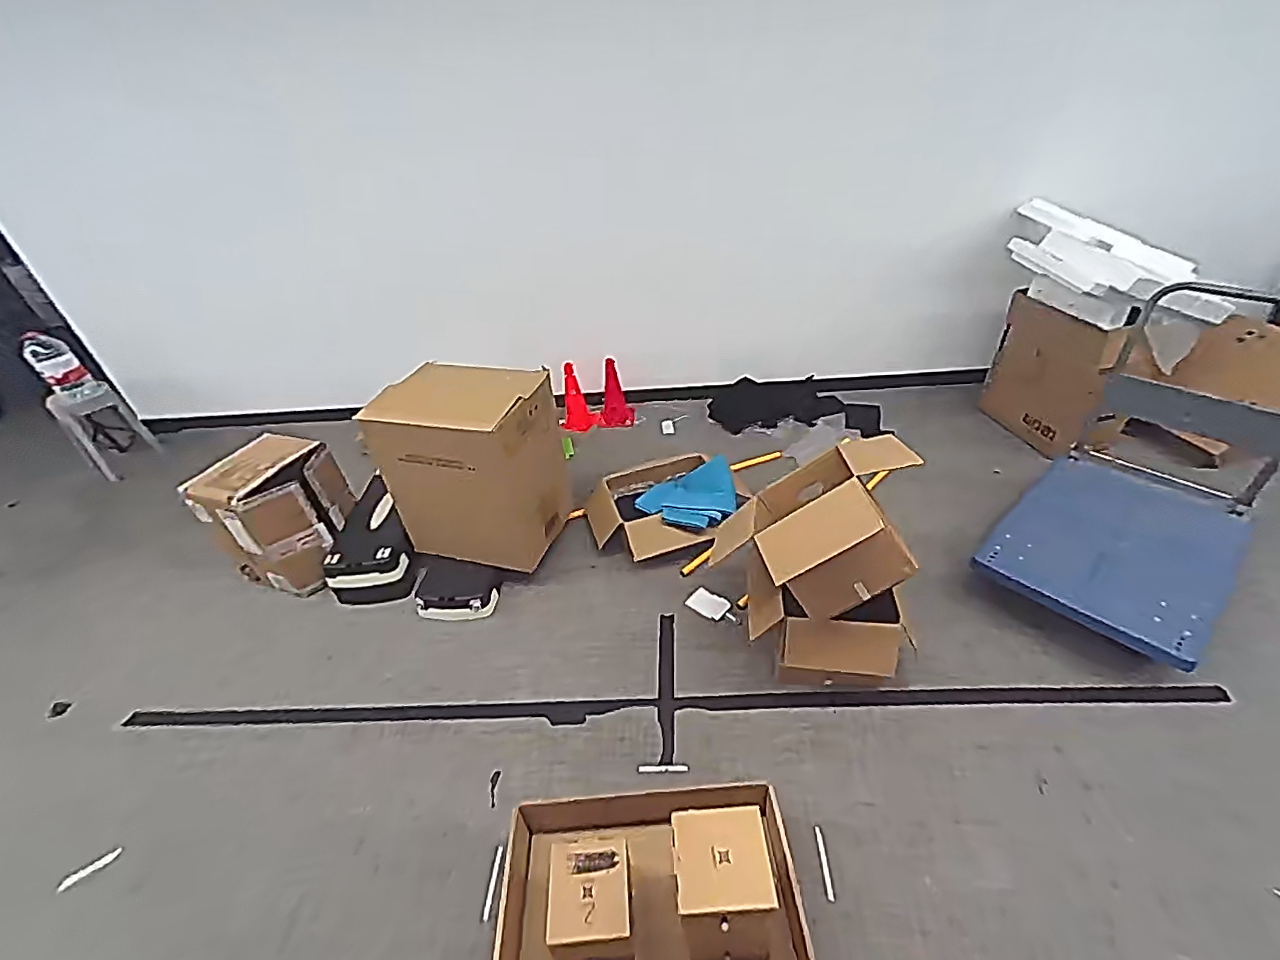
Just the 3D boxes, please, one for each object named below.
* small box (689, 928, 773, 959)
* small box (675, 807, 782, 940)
[{"bbox_3d":[0.181,0.888,1.141,0.168,0.176,0.179,-5,36,1],"label":"small box"},{"bbox_3d":[0.163,0.759,1.043,0.179,0.176,0.168,-6,36,2],"label":"small box"}]
